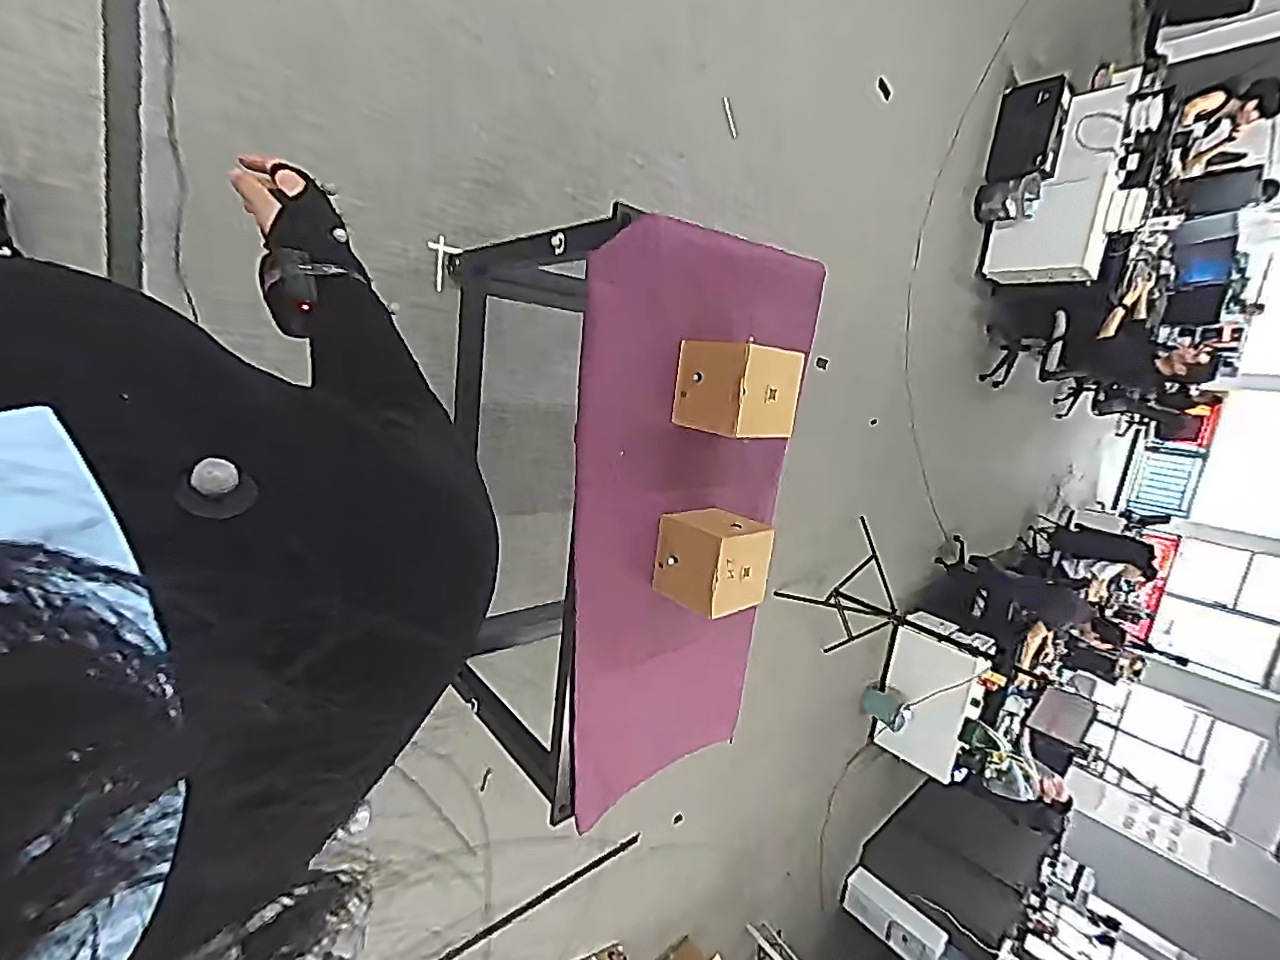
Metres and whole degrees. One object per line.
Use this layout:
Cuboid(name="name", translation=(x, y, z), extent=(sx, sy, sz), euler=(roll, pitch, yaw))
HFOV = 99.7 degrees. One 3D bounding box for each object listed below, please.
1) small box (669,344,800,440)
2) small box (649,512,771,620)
Cuboid(name="small box", translation=(0.184, -0.175, 1.066), extent=(0.179, 0.176, 0.168), euler=(-4, 107, -41))
Cuboid(name="small box", translation=(0.145, 0.170, 1.136), extent=(0.179, 0.176, 0.168), euler=(-3, 104, -42))
